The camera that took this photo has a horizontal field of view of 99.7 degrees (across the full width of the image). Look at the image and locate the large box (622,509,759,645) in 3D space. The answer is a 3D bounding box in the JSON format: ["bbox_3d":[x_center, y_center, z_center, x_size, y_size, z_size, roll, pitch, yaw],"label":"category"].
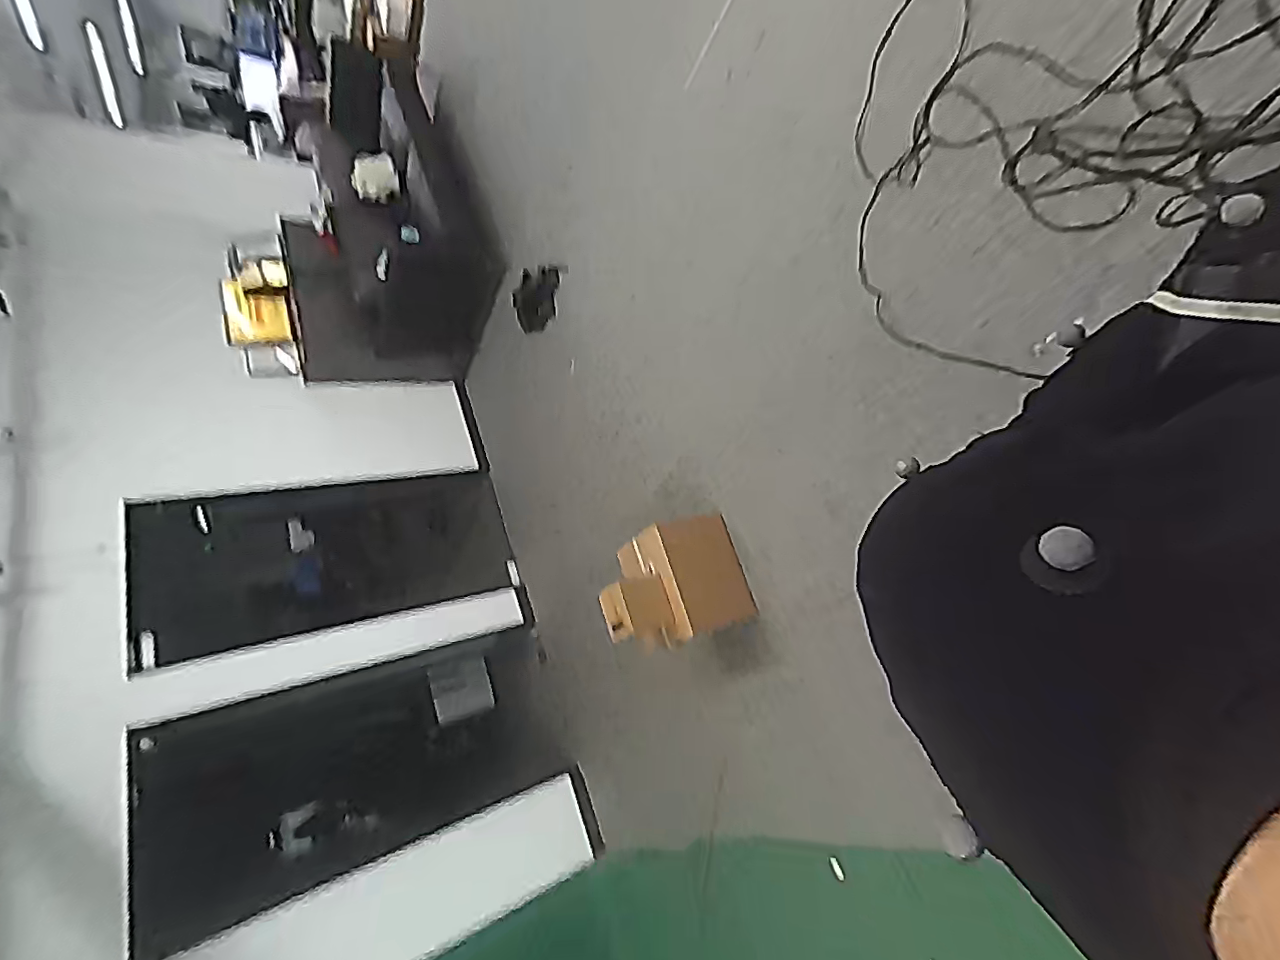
[{"bbox_3d":[0.181,0.359,2.028,0.320,0.320,0.408,-40,63,50],"label":"large box"}]
